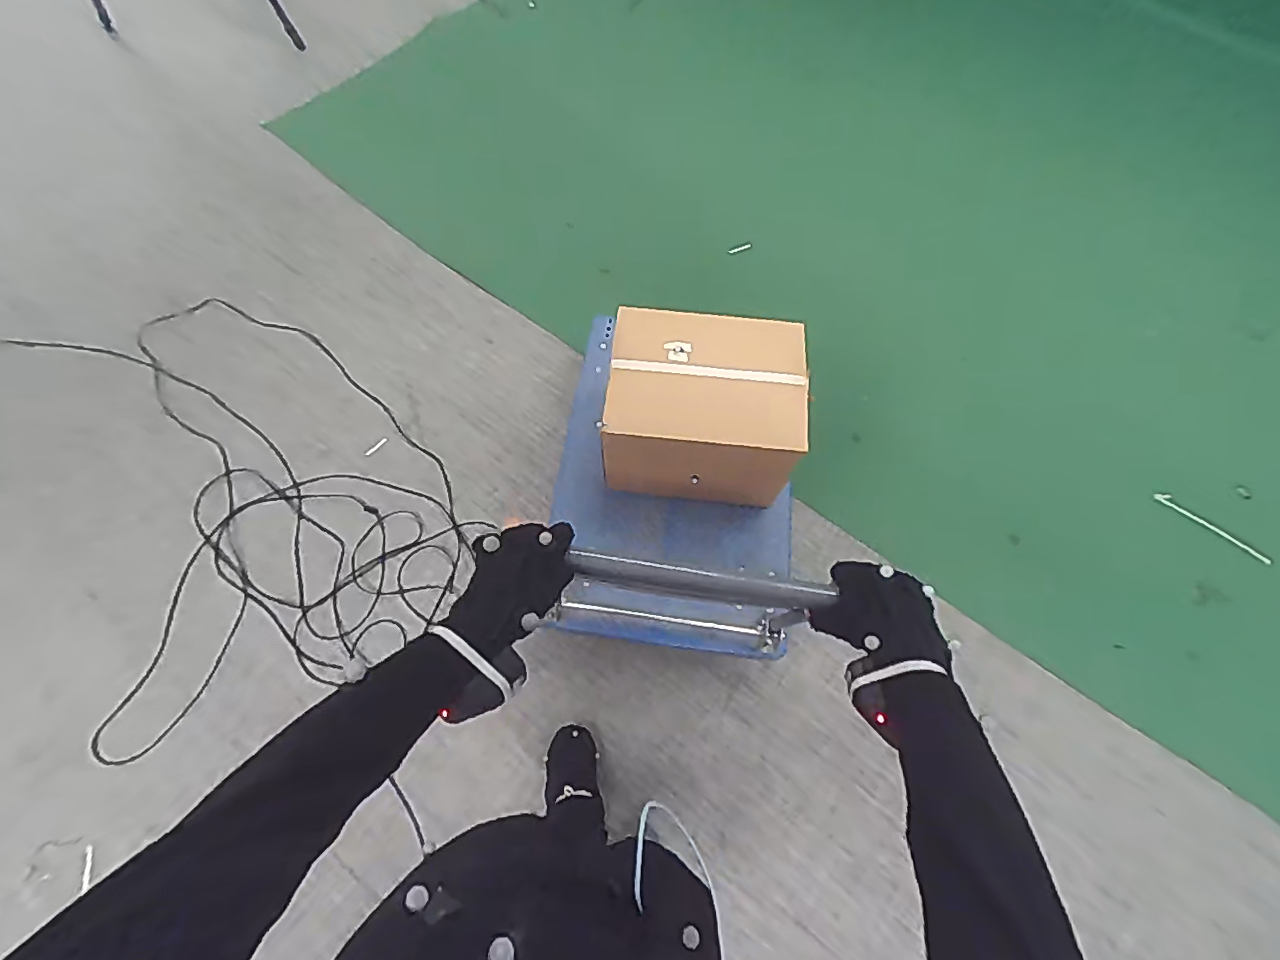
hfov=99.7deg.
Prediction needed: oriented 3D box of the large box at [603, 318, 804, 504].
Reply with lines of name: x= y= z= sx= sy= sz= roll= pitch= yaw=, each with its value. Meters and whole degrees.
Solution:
large box: x=0.135 y=-0.145 z=1.258 sx=0.408 sy=0.320 sz=0.320 roll=5 pitch=66 yaw=1
